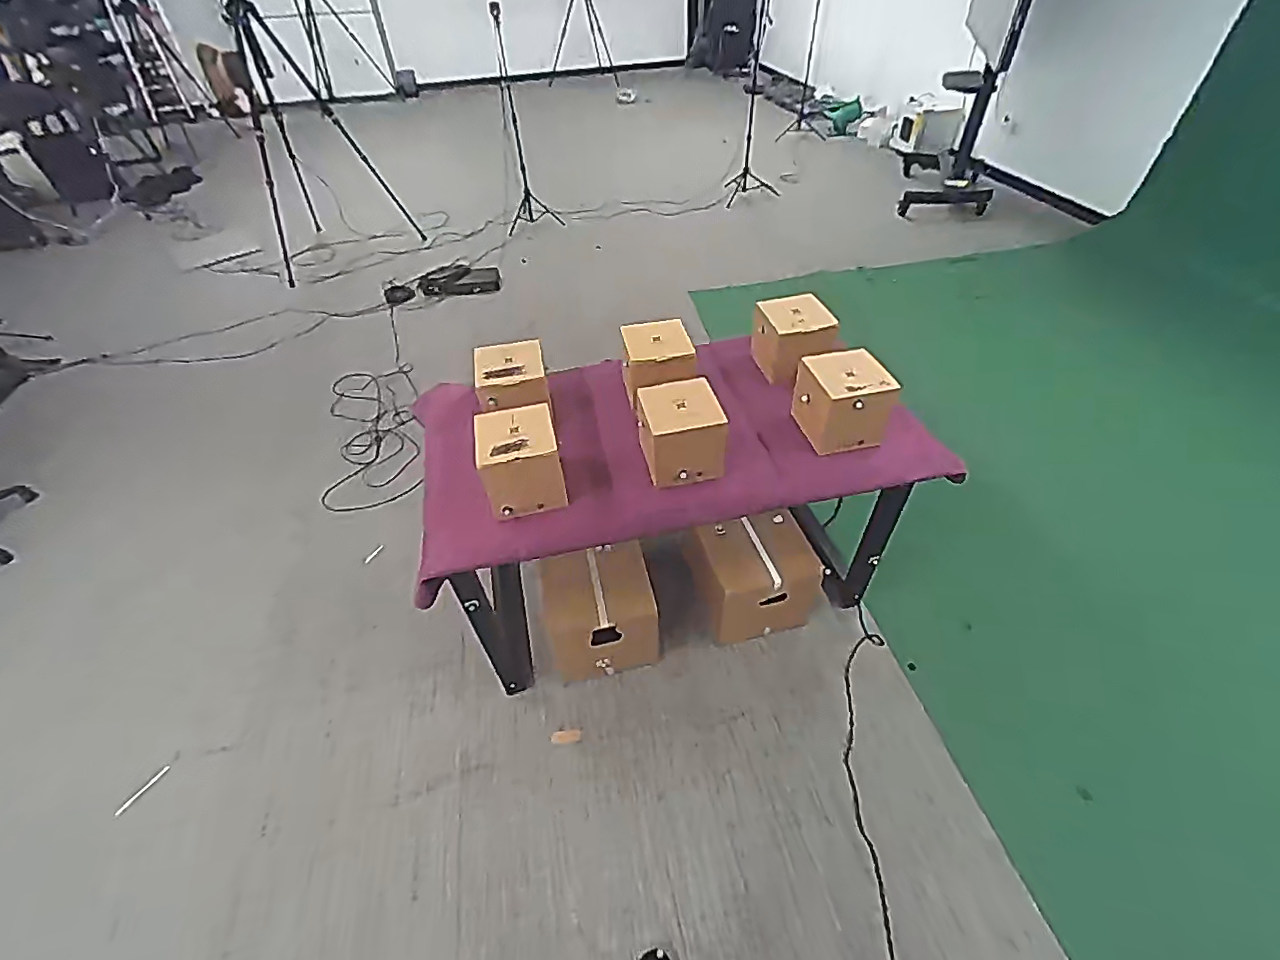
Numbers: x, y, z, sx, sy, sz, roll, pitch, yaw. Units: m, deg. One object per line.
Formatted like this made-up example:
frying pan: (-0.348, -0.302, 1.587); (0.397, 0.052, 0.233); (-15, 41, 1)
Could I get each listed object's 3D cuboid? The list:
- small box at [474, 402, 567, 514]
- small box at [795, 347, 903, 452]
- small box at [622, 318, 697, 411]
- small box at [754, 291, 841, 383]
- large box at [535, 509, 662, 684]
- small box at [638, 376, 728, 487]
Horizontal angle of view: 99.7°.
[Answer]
small box: (-0.260, -0.042, 1.187); (0.168, 0.176, 0.179); (-12, 45, -8)
small box: (0.483, -0.191, 1.282); (0.168, 0.176, 0.179); (-11, 44, -5)
small box: (0.047, -0.302, 1.424); (0.168, 0.176, 0.179); (-9, 47, -6)
small box: (0.419, -0.390, 1.478); (0.168, 0.176, 0.179); (-11, 47, -5)
large box: (-0.131, 0.364, 1.711); (0.320, 0.320, 0.408); (-11, 45, -7)
small box: (0.093, -0.110, 1.232); (0.168, 0.176, 0.179); (-11, 46, -5)
